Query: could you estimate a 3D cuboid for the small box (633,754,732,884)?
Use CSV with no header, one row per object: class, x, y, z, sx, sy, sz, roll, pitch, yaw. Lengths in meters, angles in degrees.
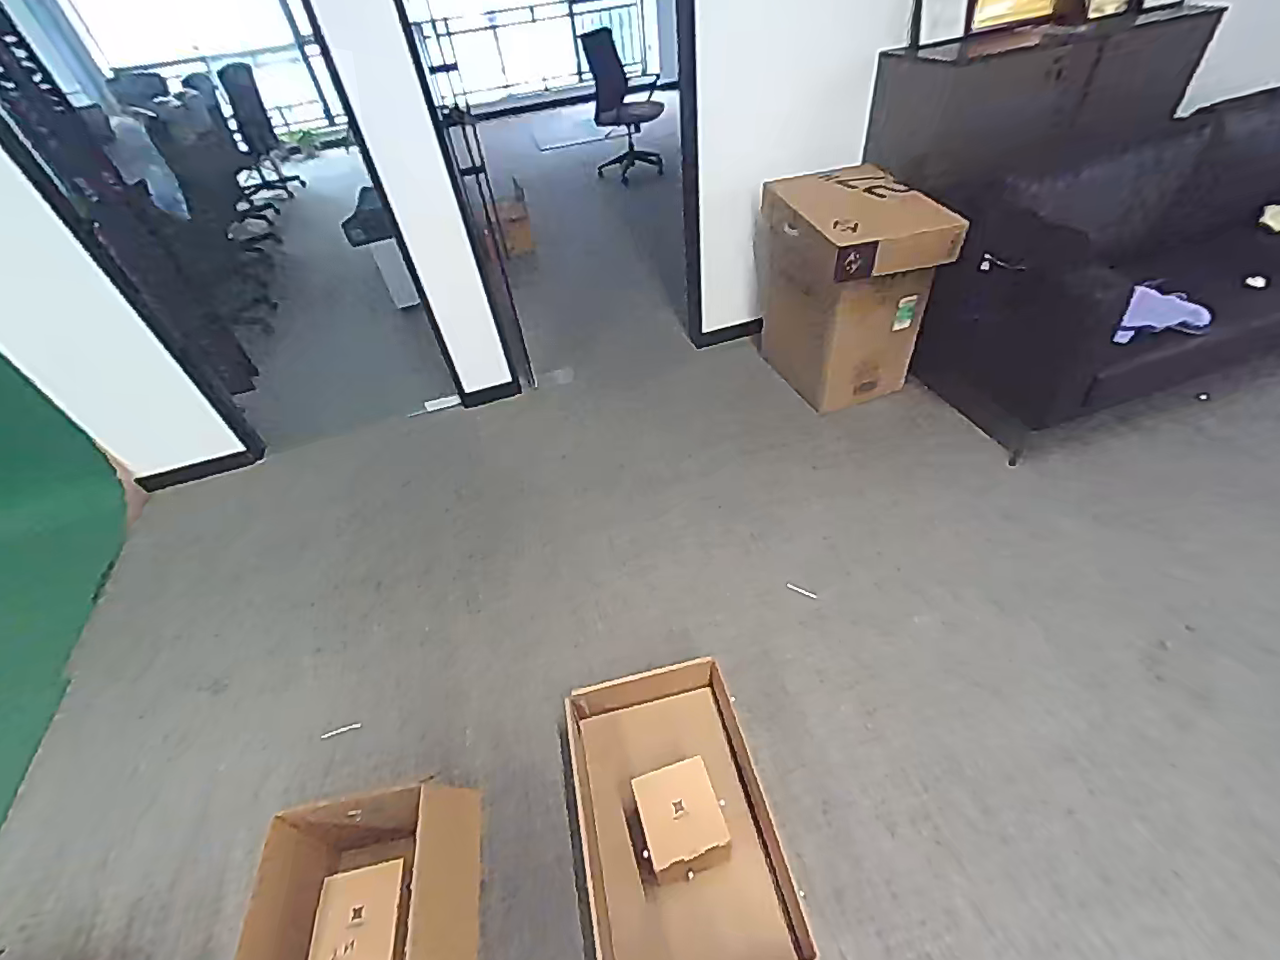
small box,0.090,0.742,1.182,0.168,0.176,0.179,-16,45,-9
